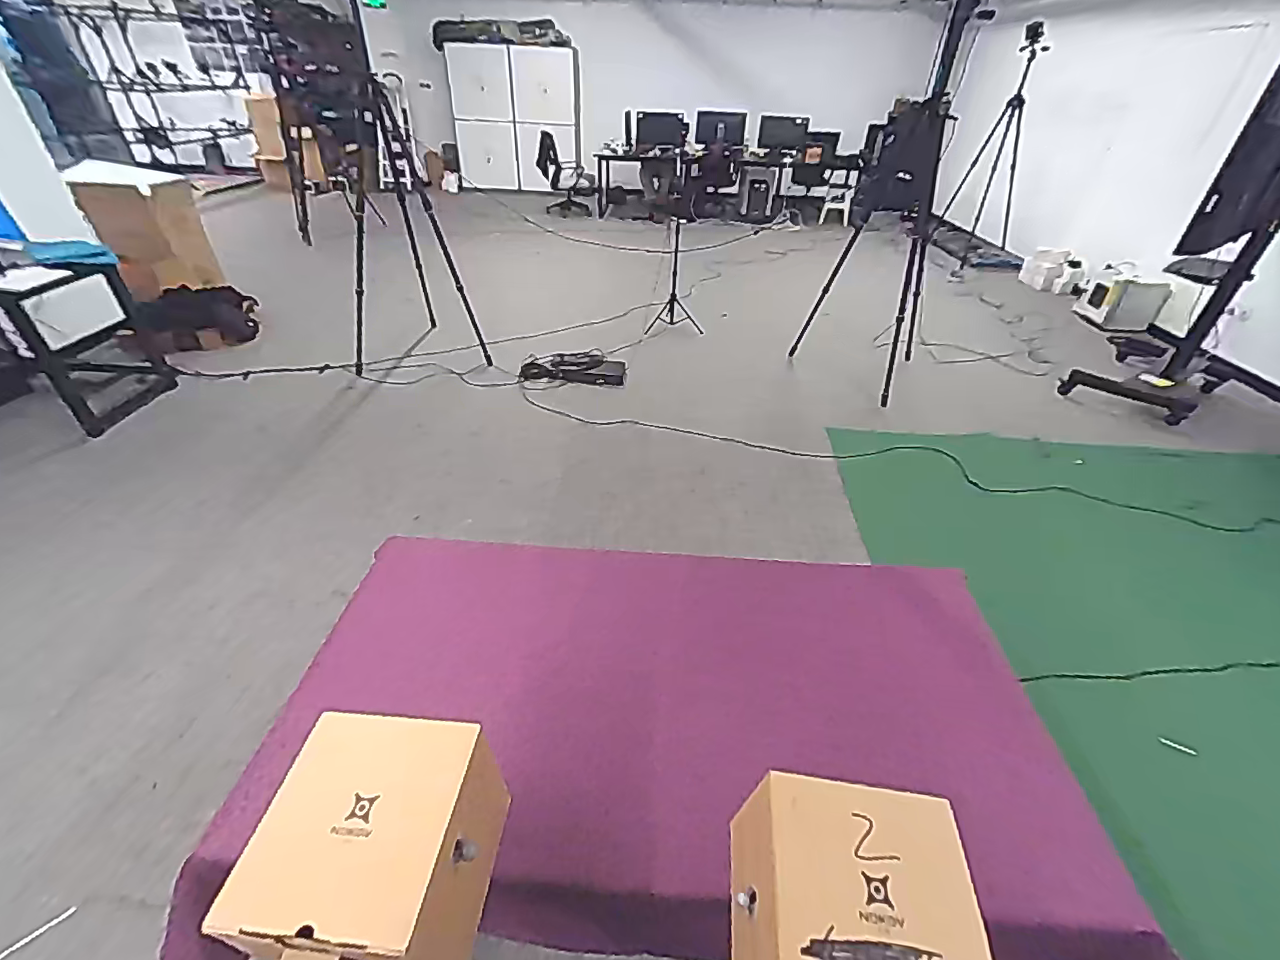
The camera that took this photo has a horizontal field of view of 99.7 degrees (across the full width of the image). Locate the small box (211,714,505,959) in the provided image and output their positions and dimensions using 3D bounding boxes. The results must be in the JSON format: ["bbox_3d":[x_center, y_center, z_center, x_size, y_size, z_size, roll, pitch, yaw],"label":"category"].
[{"bbox_3d":[-0.237,0.355,0.516,0.168,0.176,0.179,3,39,5],"label":"small box"}]
